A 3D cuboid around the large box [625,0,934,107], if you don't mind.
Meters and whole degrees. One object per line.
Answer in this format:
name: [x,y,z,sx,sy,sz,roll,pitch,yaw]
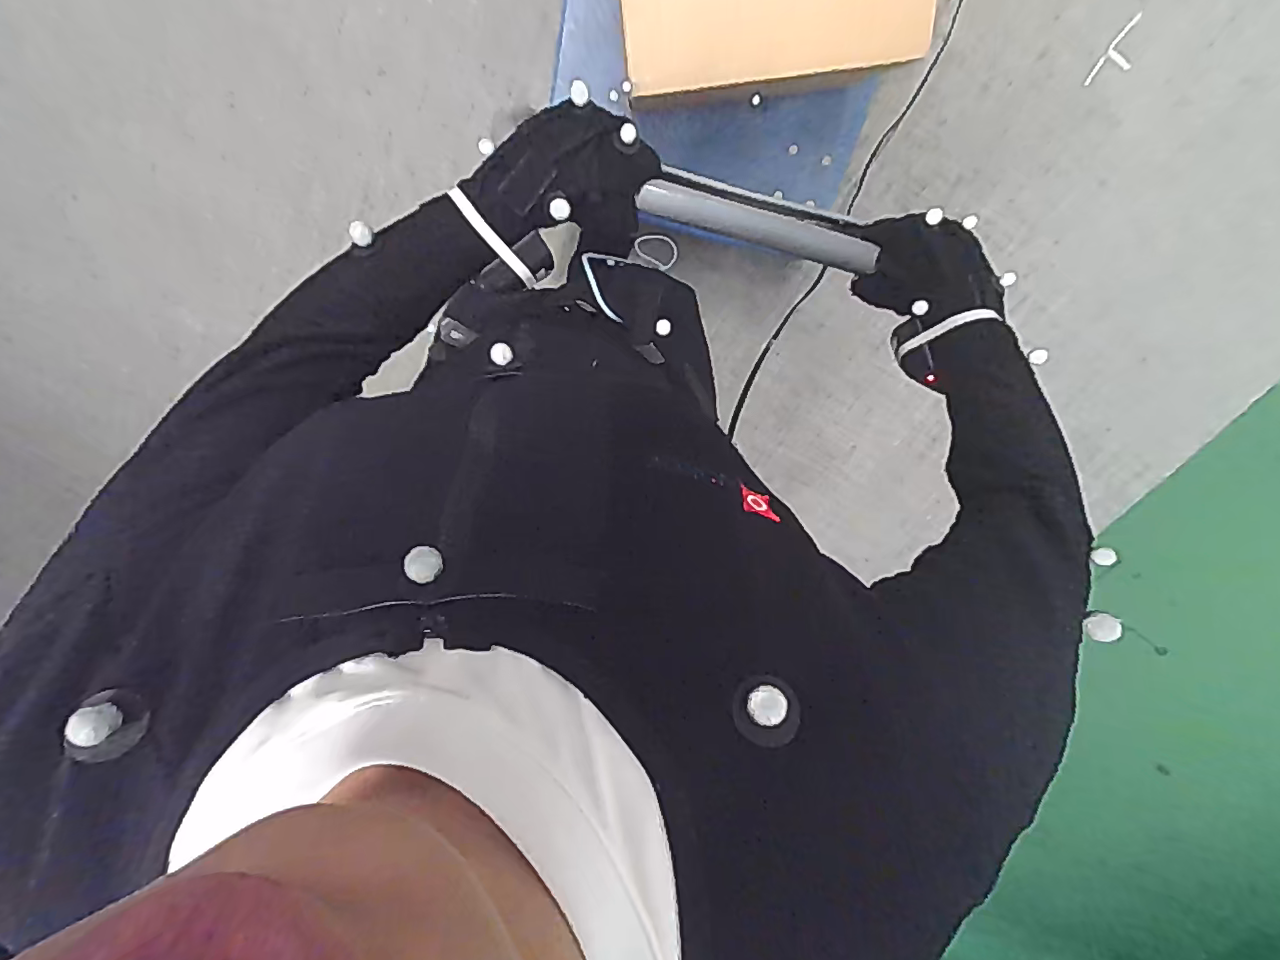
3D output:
large box: [0.177,-0.765,0.790,0.408,0.320,0.320,-5,120,4]
